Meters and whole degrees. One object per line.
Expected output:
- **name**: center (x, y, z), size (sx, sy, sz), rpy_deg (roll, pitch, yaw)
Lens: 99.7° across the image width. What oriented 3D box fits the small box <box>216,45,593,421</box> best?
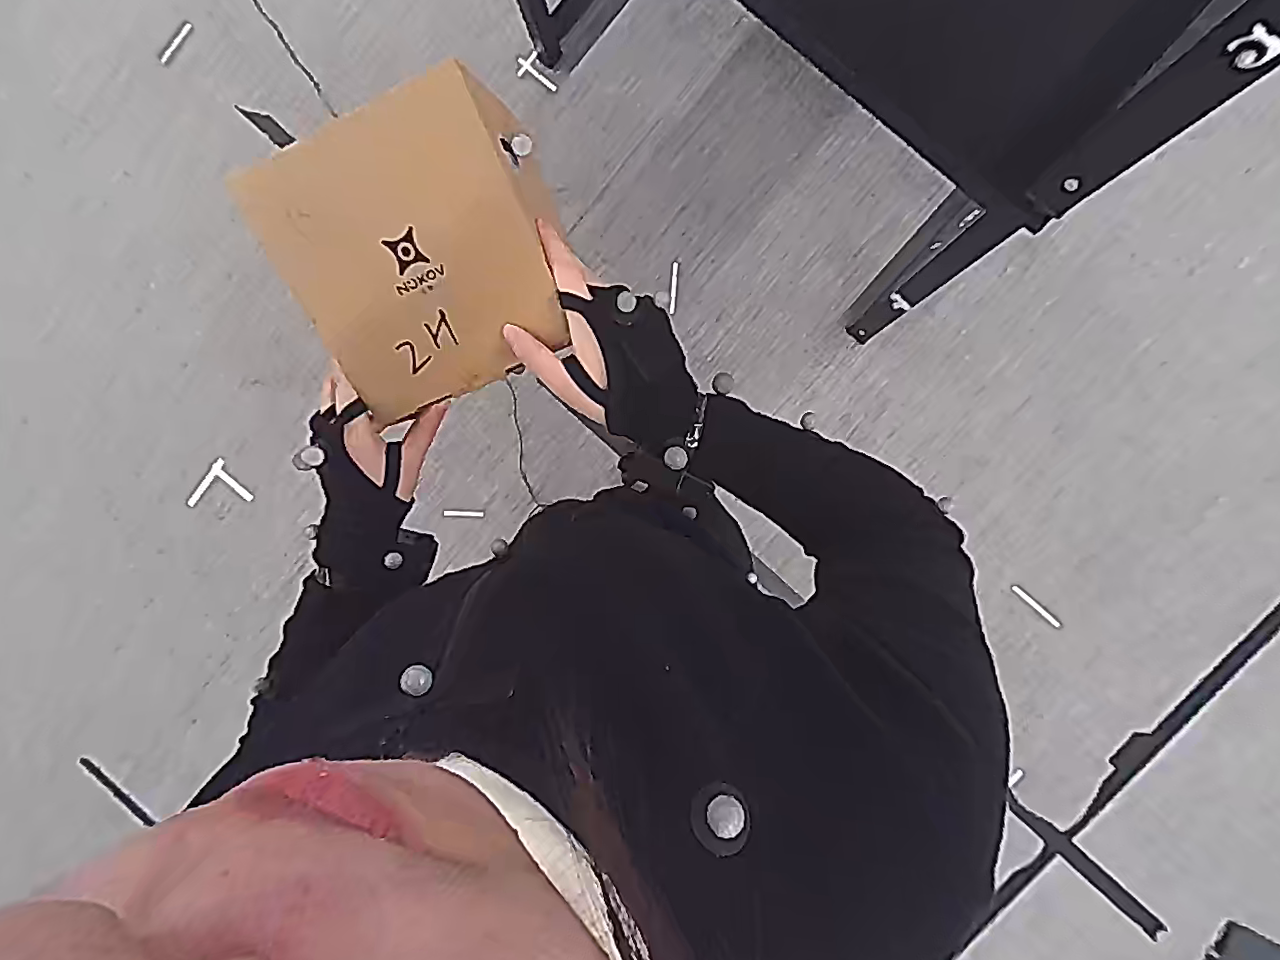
- **small box**: center (-0.147, -0.172, 0.412), size (0.168, 0.176, 0.179), rpy_deg (-20, 113, 10)
